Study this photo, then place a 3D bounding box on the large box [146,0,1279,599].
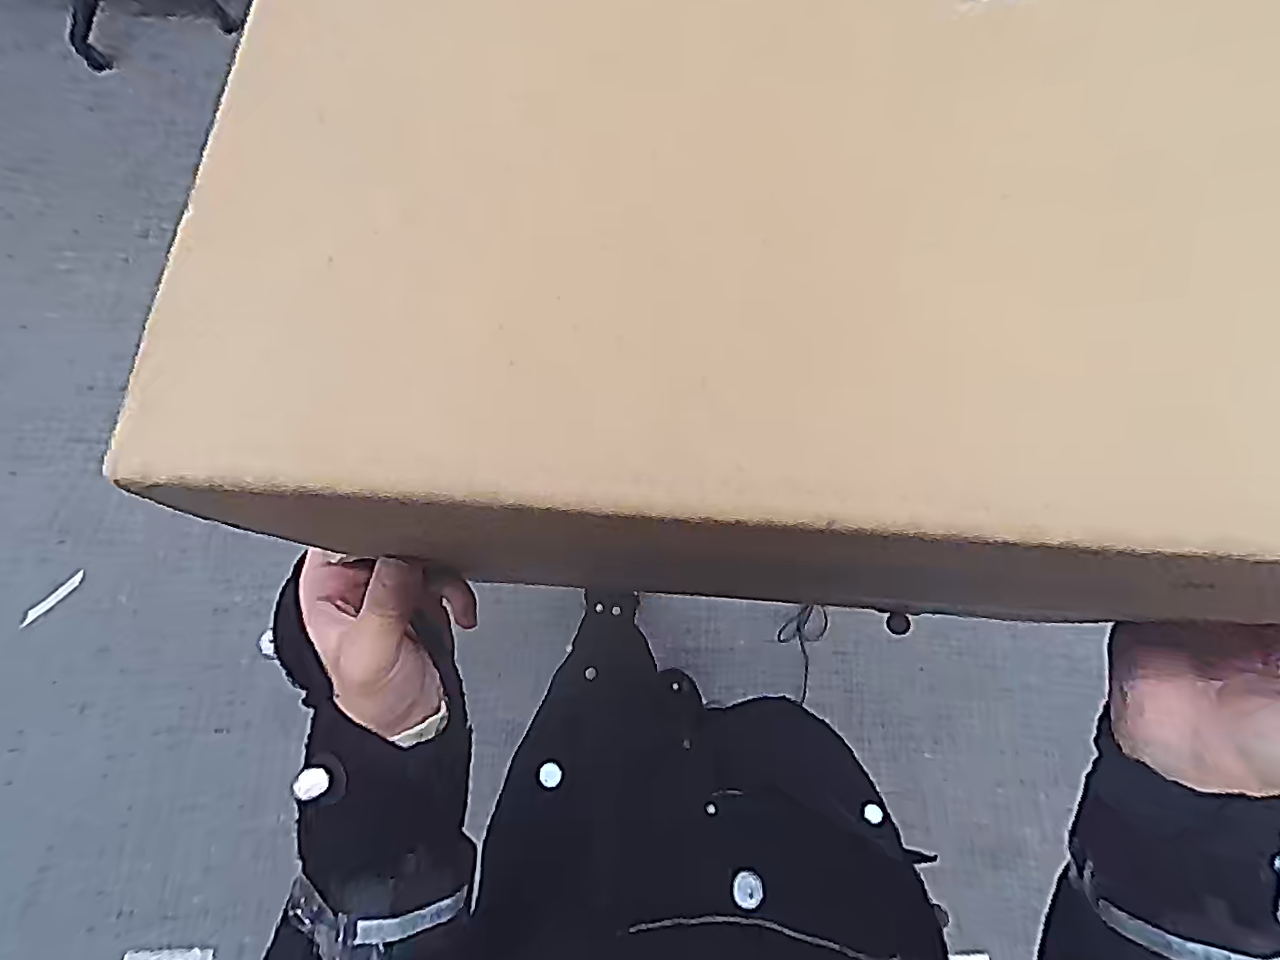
[{"bbox_3d":[0.088,-0.109,0.300,0.408,0.320,0.320,3,77,0],"label":"large box"}]
